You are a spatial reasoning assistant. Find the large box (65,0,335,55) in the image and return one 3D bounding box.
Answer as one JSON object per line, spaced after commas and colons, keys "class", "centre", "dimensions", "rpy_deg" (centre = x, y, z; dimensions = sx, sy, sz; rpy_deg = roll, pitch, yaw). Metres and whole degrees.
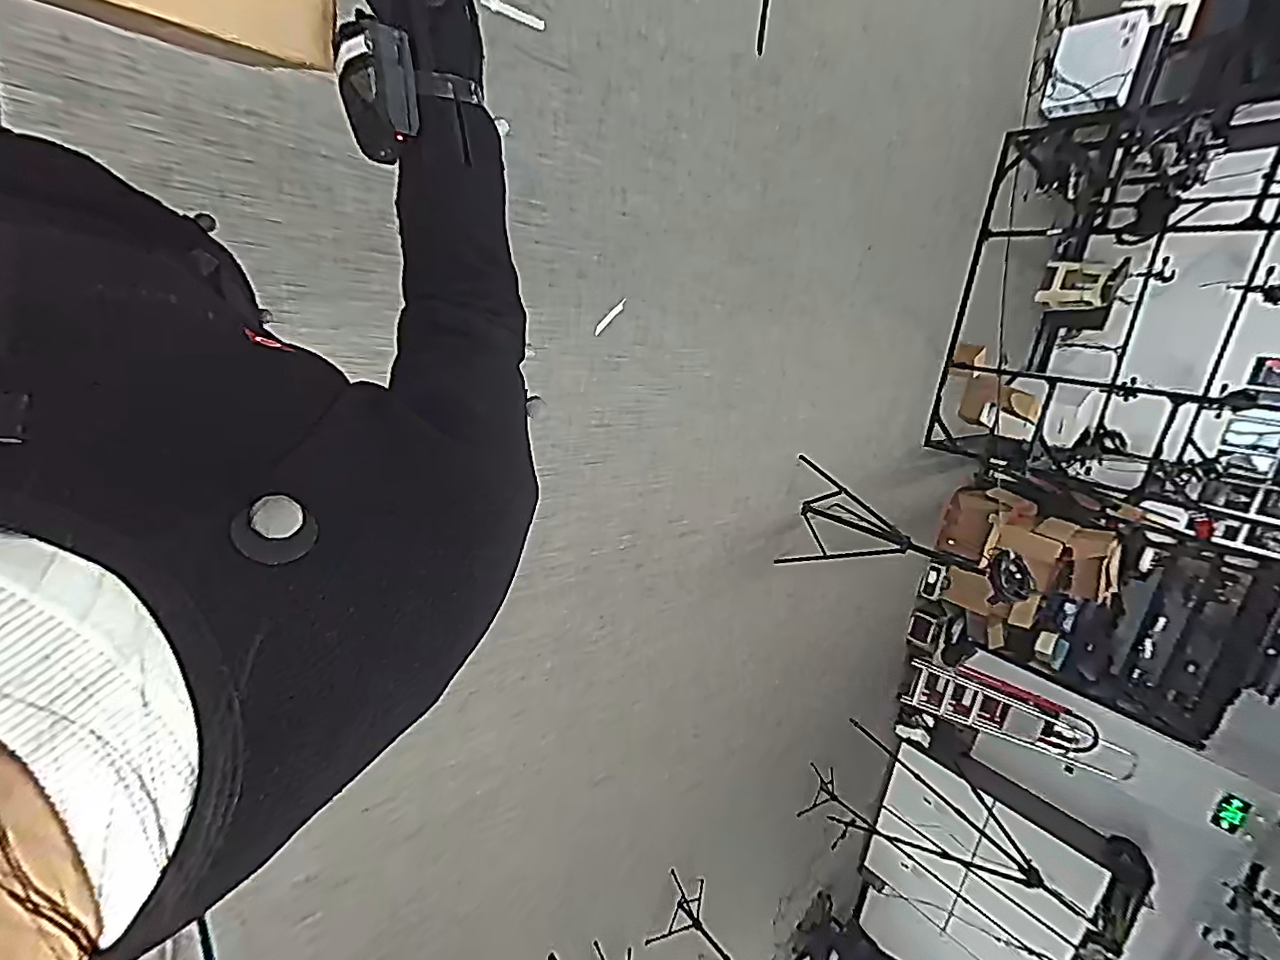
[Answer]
{"class": "large box", "centre": [-0.409, -0.454, 0.252], "dimensions": [0.408, 0.320, 0.320], "rpy_deg": [-10, 127, -40]}
